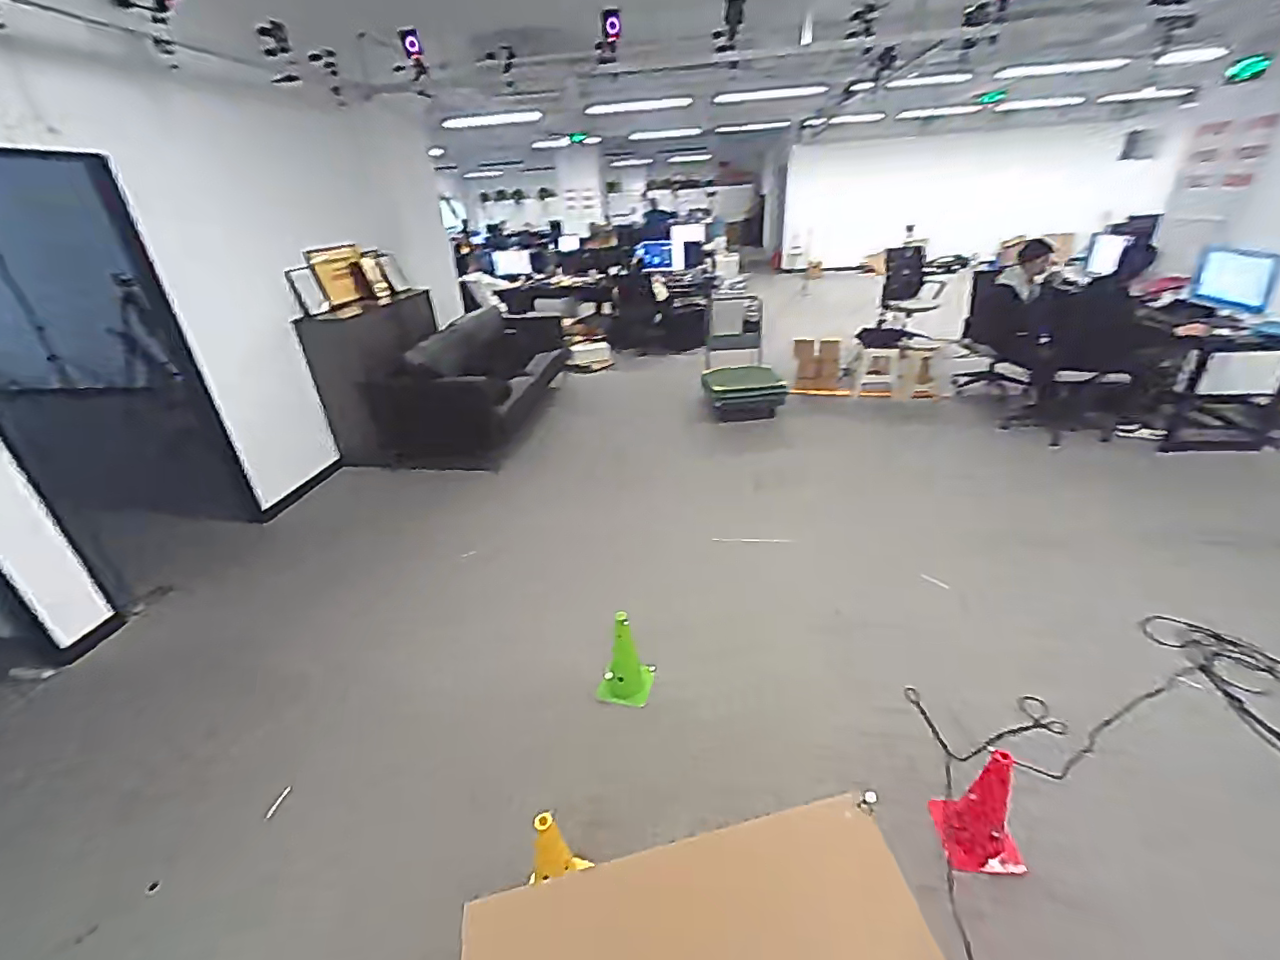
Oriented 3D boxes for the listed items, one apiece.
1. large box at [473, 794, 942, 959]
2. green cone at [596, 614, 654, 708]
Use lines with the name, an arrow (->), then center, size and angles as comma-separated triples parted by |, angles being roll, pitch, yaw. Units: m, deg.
large box -> 0.075, 0.573, 0.517 | 0.408, 0.320, 0.320 | -9, 41, -9
green cone -> -0.069, 0.659, 2.063 | 0.200, 0.368, 0.202 | 3, 29, 14
